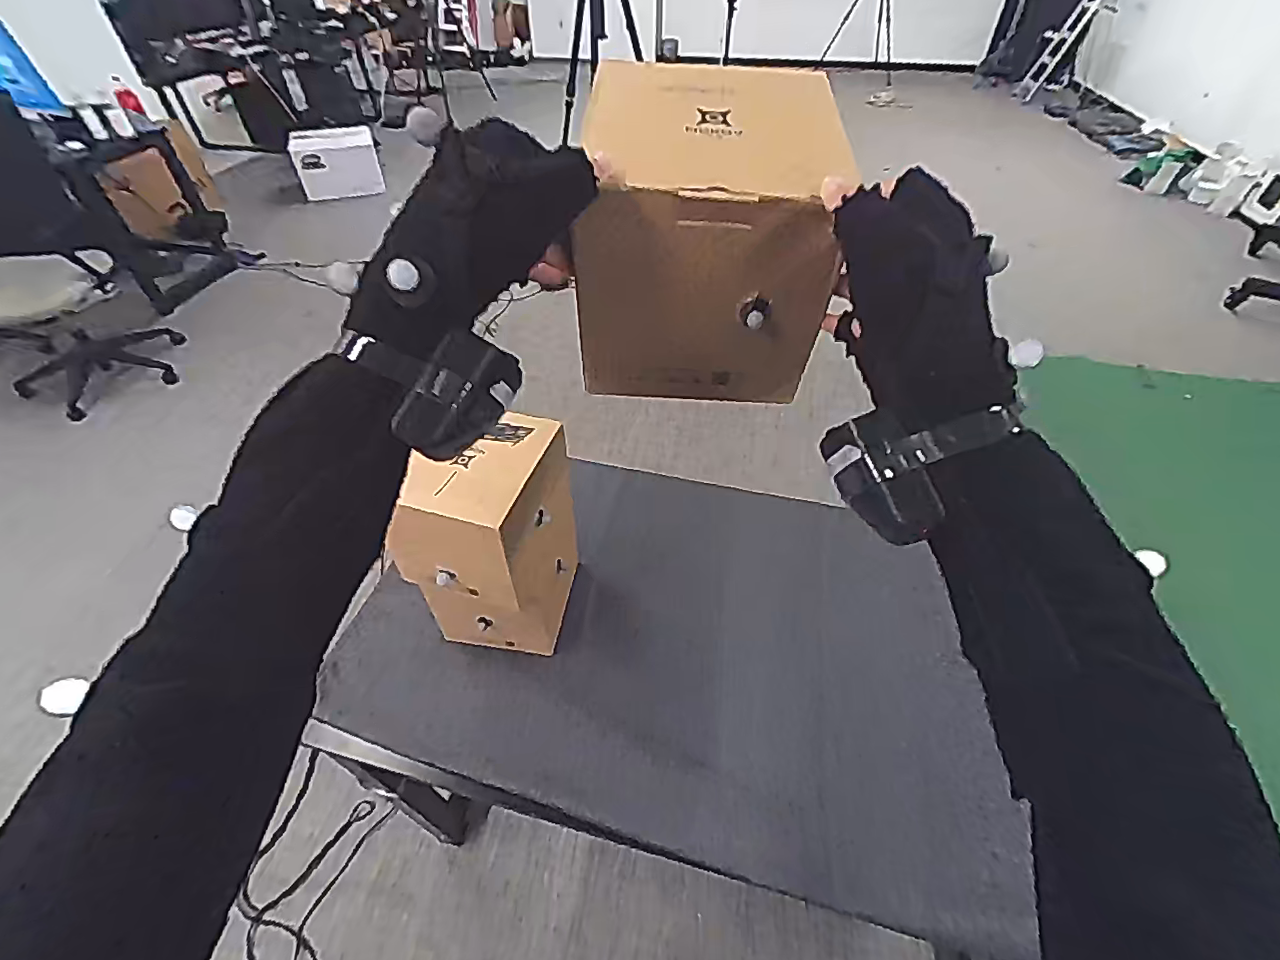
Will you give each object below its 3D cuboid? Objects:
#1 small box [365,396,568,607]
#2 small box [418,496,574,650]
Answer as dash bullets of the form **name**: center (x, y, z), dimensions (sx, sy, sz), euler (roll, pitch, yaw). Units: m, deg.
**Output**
- **small box**: center (-0.195, 0.026, 0.672), dimensions (0.168, 0.176, 0.179), euler (13, 48, 10)
- **small box**: center (-0.196, 0.129, 0.801), dimensions (0.168, 0.176, 0.179), euler (7, 46, 5)
